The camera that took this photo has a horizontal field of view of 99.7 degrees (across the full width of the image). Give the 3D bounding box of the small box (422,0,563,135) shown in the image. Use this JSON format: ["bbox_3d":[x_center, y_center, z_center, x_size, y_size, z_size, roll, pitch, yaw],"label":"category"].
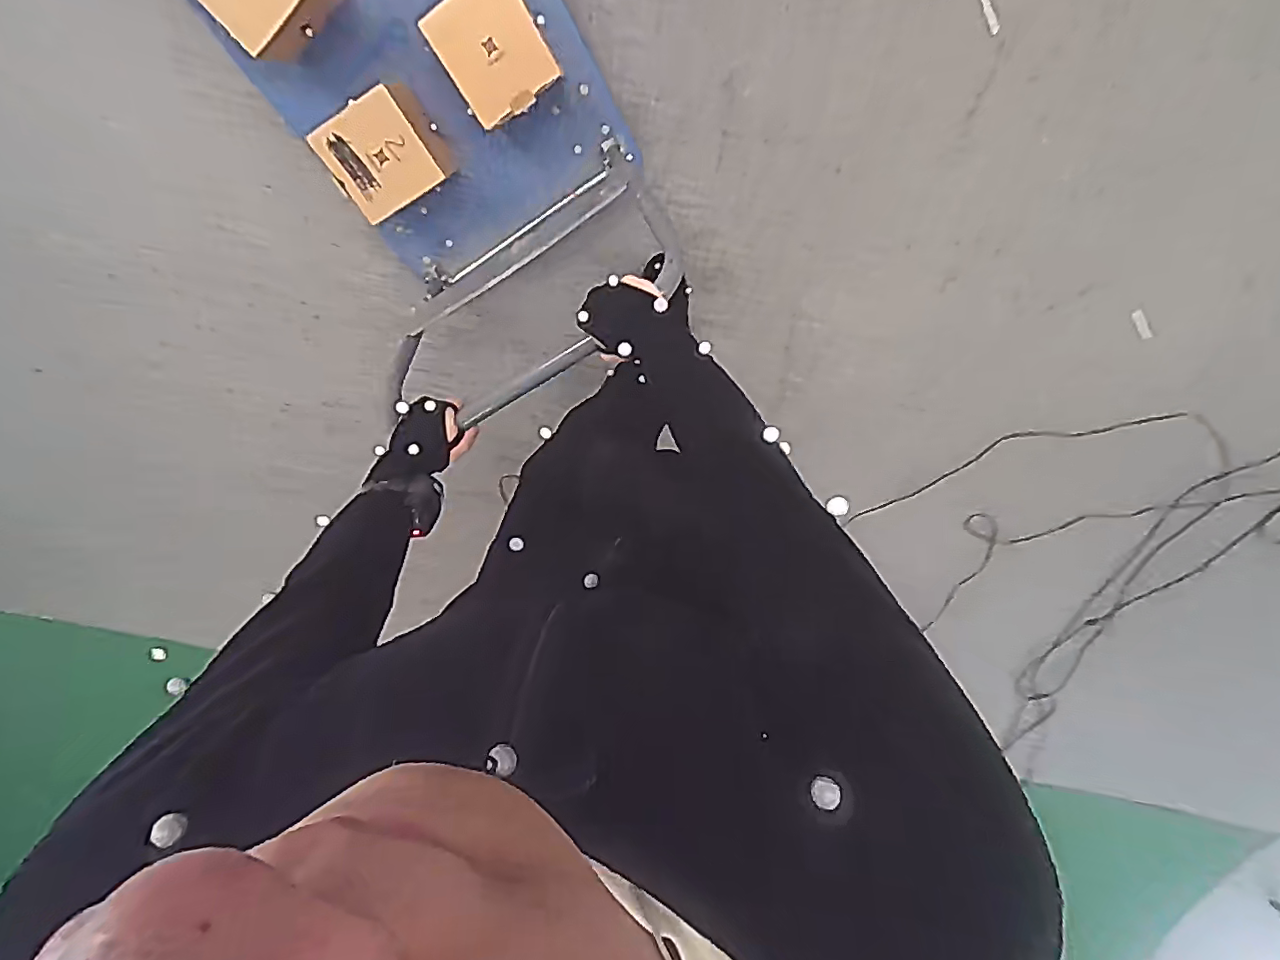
[{"bbox_3d":[-0.255,-0.759,0.970,0.168,0.176,0.179,-29,126,13],"label":"small box"}]

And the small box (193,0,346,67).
[{"bbox_3d":[-0.619,-0.815,0.876,0.168,0.176,0.179,-35,123,16],"label":"small box"}]
